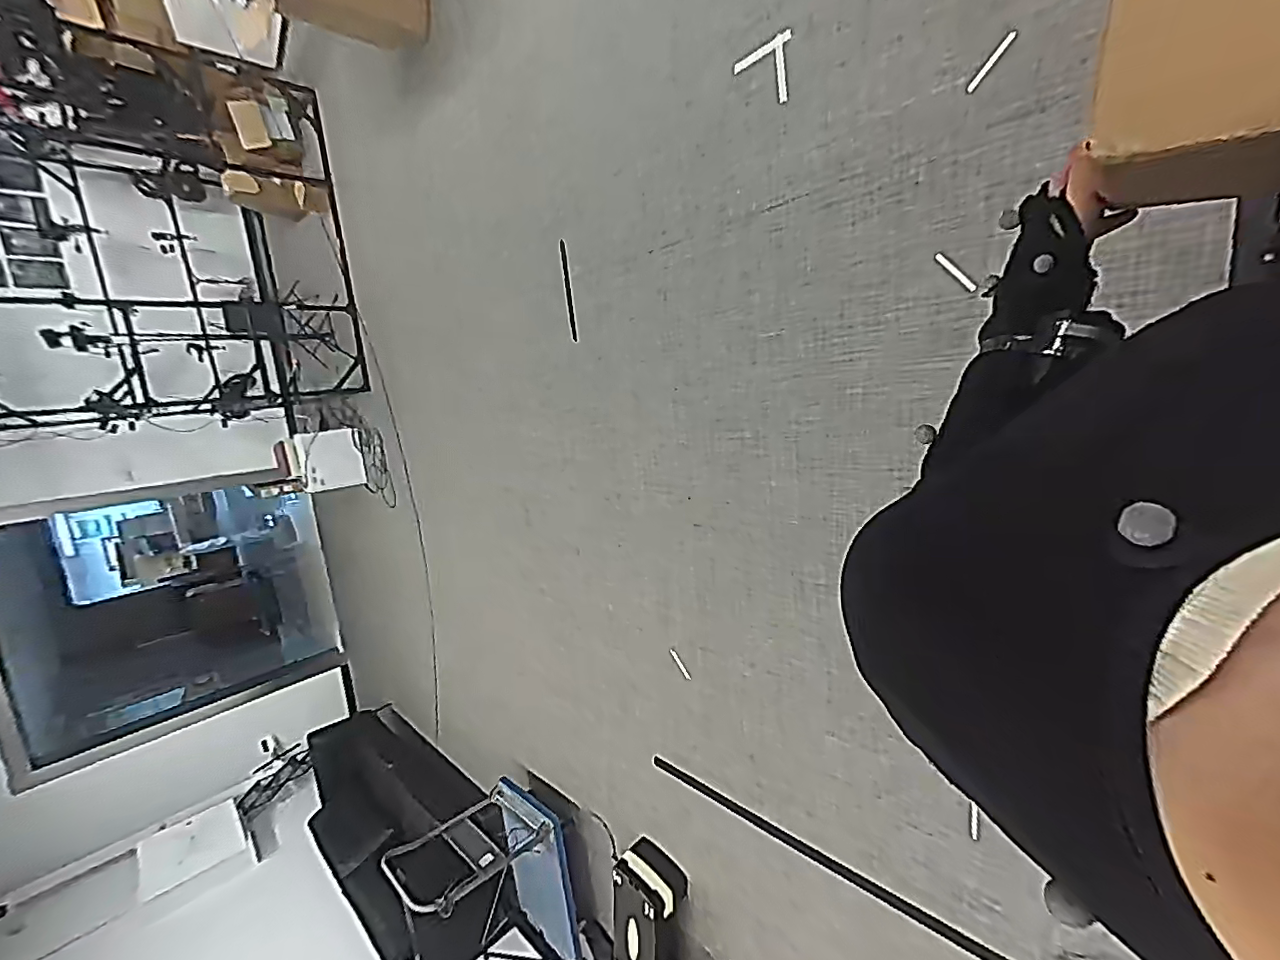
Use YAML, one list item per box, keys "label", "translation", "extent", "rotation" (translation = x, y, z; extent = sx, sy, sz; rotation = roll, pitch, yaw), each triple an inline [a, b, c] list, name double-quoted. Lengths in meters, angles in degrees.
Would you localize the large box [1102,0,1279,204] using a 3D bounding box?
- label: "large box"
  translation: [0.438, -0.308, 0.182]
  extent: [0.408, 0.320, 0.320]
  rotation: [11, 114, 38]
